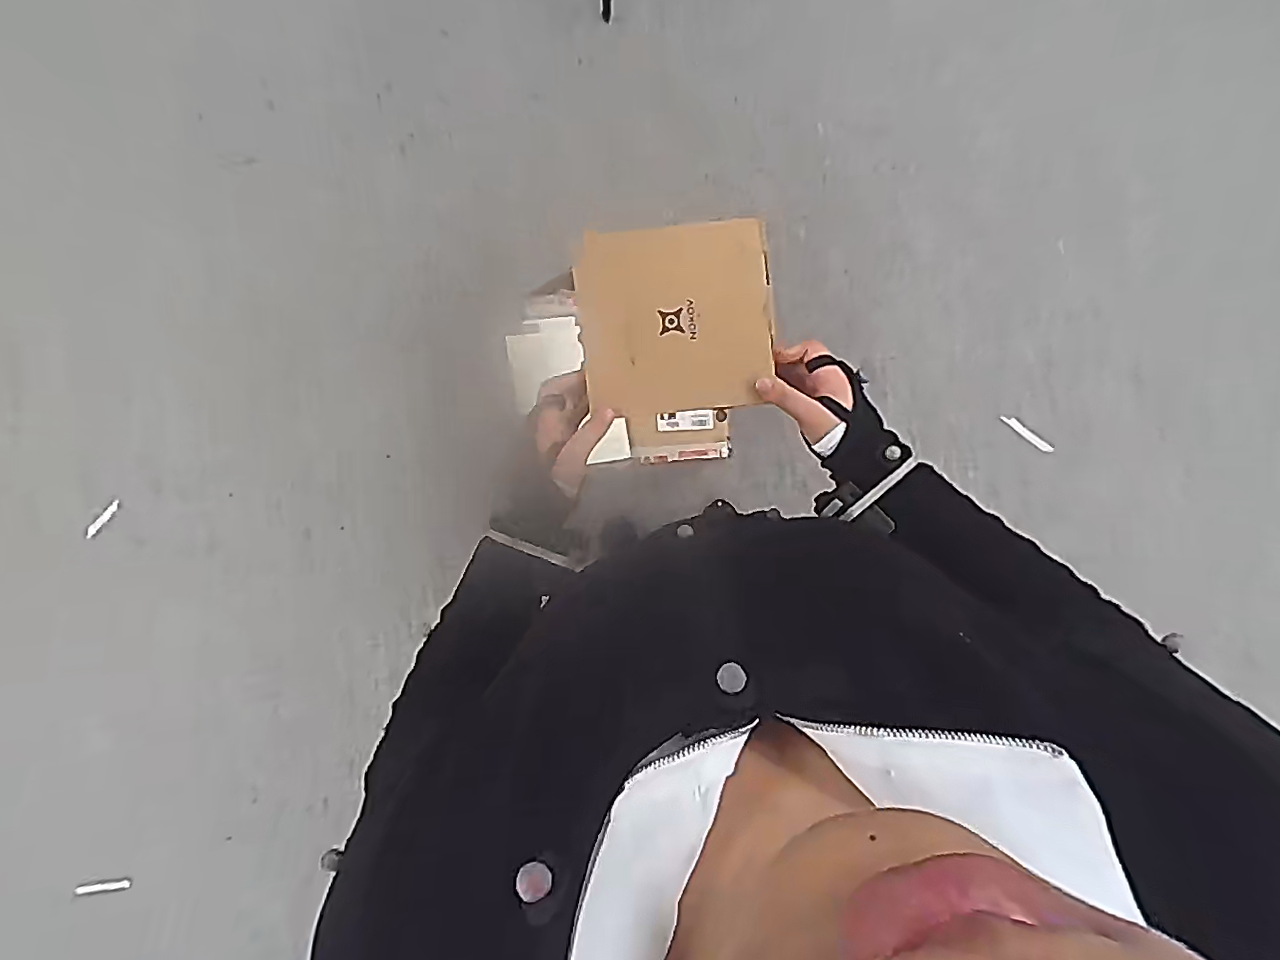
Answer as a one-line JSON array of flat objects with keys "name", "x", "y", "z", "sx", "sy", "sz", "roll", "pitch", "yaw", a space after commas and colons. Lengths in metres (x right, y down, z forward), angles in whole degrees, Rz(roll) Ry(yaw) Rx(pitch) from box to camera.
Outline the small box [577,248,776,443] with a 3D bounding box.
[{"name": "small box", "x": 0.037, "y": -0.135, "z": 0.588, "sx": 0.179, "sy": 0.176, "sz": 0.168, "roll": -7, "pitch": 96, "yaw": 3}]
